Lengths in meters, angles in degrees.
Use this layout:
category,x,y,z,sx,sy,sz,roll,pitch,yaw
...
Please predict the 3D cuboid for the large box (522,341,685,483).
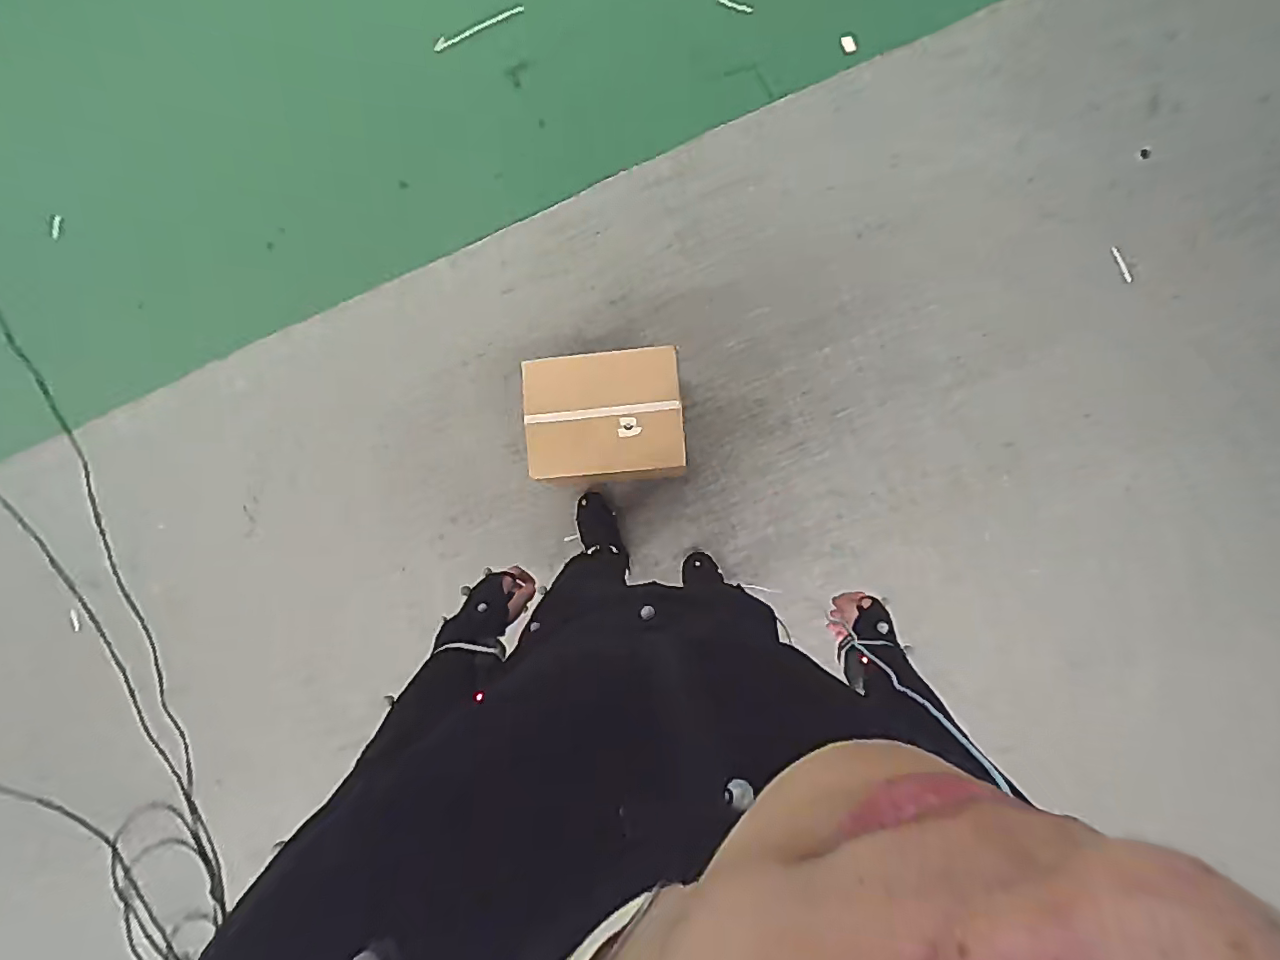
category,x,y,z,sx,sy,sz,roll,pitch,yaw
large box,-0.086,-0.171,1.514,0.408,0.320,0.320,-4,86,4
